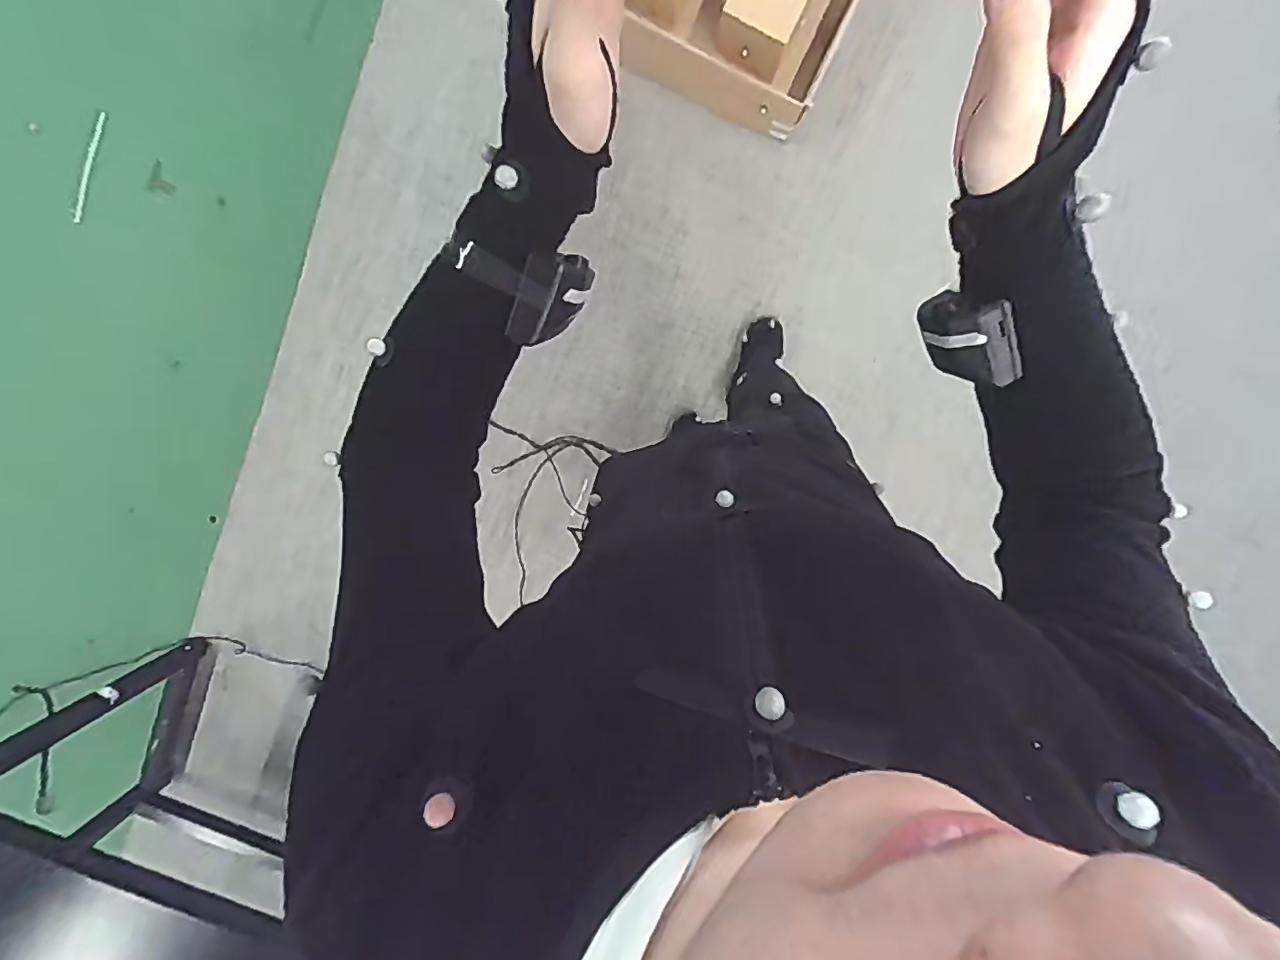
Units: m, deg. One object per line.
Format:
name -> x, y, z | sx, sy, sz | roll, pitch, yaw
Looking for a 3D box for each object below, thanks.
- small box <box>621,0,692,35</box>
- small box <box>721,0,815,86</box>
small box -> 0.053, -1.228, 1.290 | 0.168, 0.176, 0.179 | 26, 98, -3
small box -> 0.307, -1.105, 1.300 | 0.168, 0.176, 0.179 | 28, 99, -2
